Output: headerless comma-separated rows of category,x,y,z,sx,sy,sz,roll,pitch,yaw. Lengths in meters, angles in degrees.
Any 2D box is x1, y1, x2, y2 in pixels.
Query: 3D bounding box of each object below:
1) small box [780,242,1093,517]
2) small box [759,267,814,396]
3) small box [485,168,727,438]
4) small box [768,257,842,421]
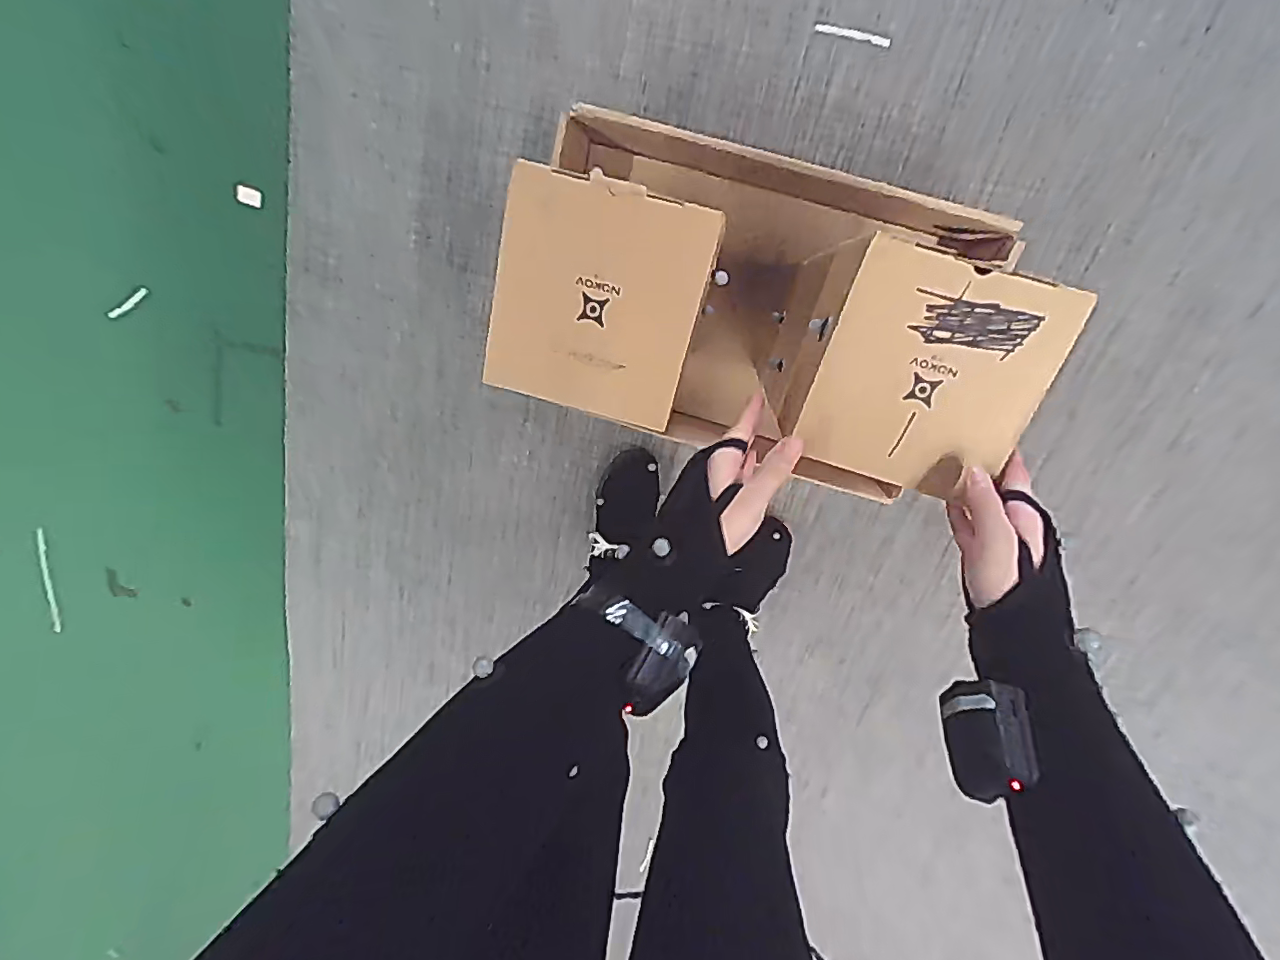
small box,0.236,-0.098,0.492,0.168,0.176,0.179,18,112,3
small box,0.283,-0.200,0.801,0.168,0.176,0.179,18,111,3
small box,-0.025,-0.162,0.508,0.168,0.176,0.179,17,112,3
small box,0.260,-0.148,0.646,0.168,0.176,0.179,19,111,2
